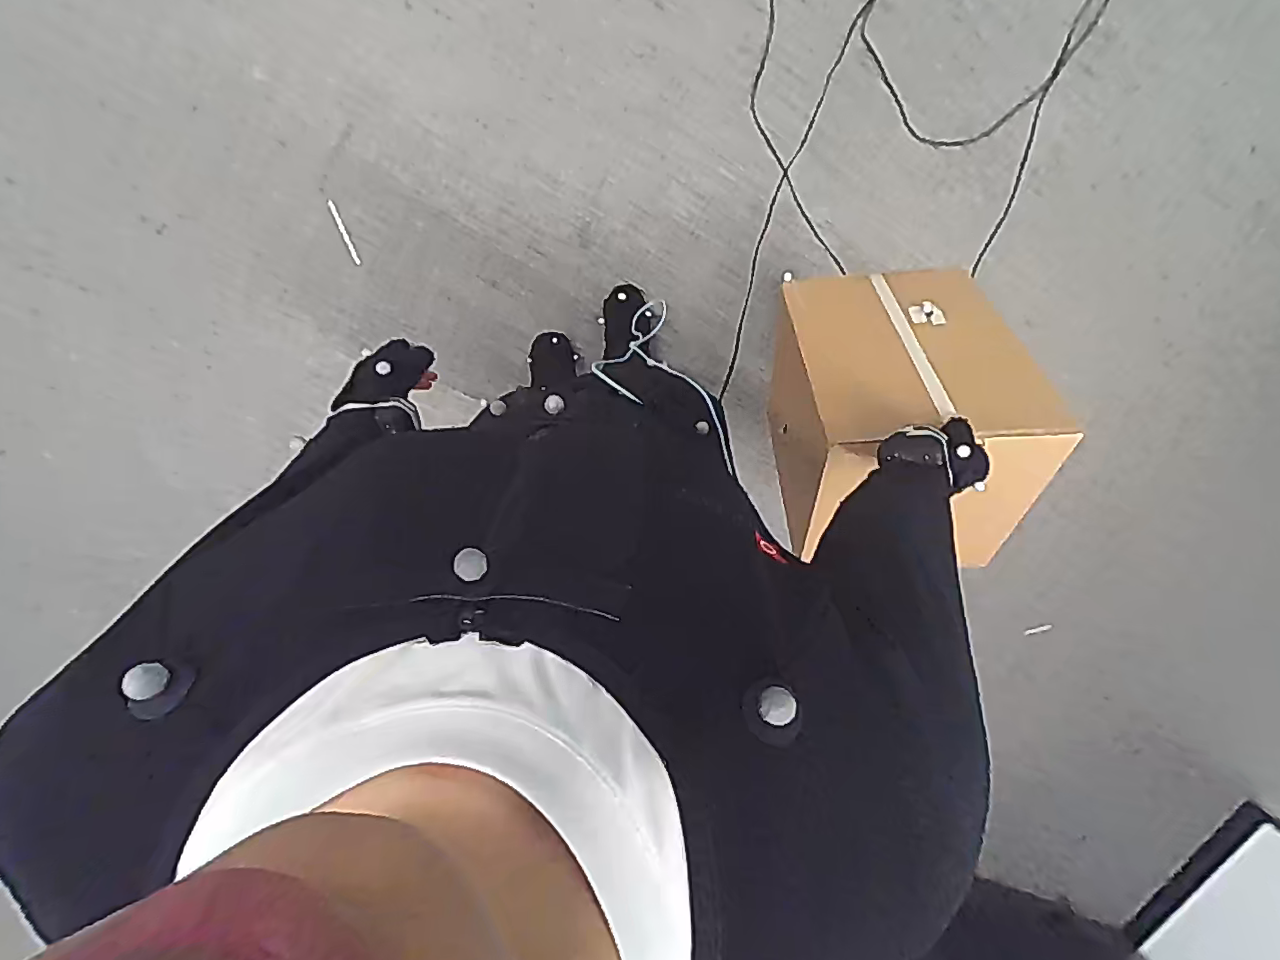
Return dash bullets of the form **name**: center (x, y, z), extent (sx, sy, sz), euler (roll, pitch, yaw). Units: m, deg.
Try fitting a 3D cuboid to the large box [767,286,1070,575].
- **large box**: center (0.414, -0.086, 0.938), extent (0.320, 0.408, 0.320), euler (-1, 138, 3)
